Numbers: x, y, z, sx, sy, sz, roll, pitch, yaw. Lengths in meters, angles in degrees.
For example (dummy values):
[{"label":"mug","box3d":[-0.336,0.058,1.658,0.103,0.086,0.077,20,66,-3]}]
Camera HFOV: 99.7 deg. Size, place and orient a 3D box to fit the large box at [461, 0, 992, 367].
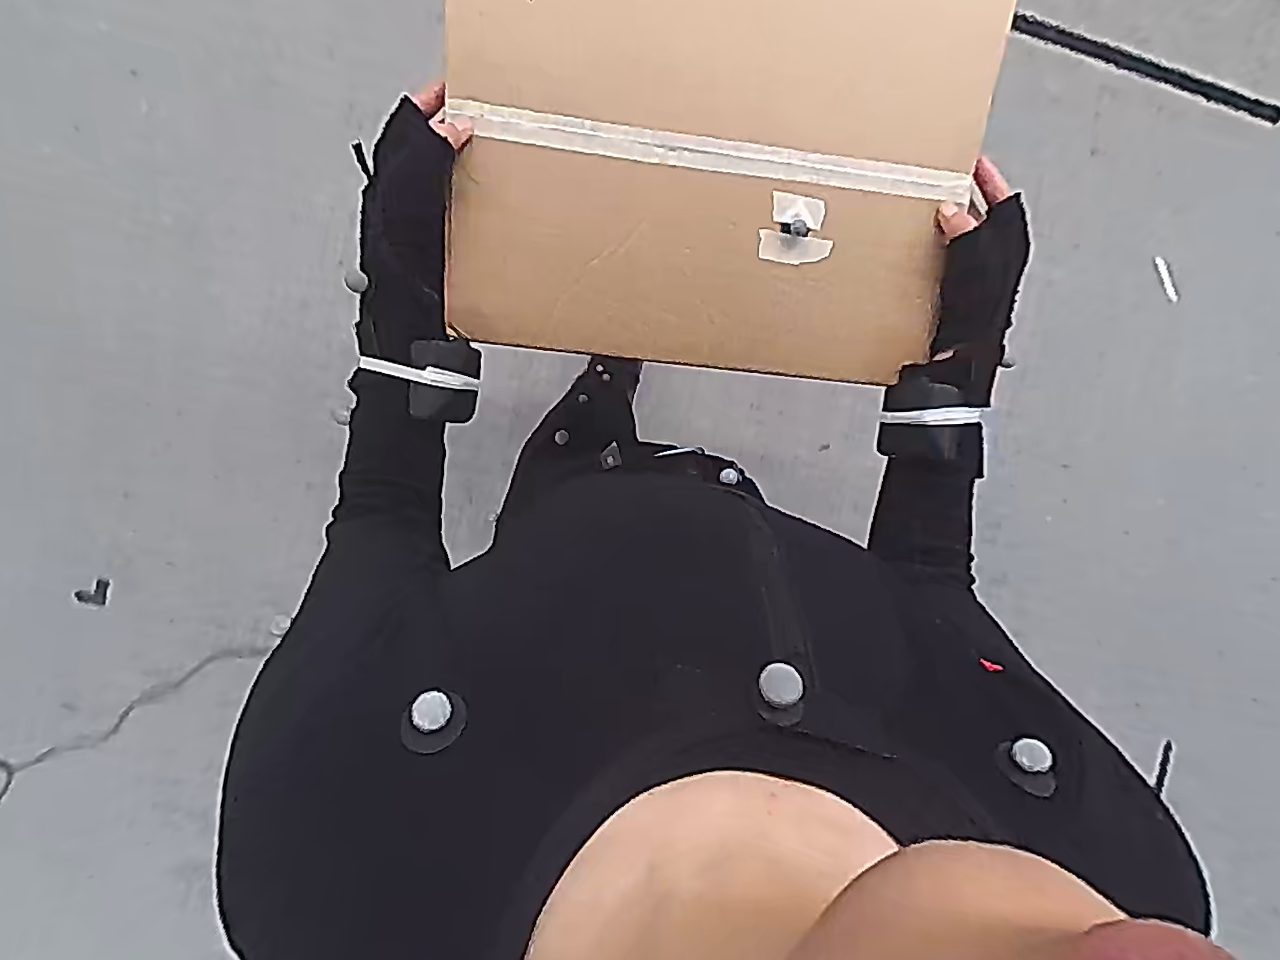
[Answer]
[{"label":"large box","box3d":[0.047,-0.303,0.569,0.408,0.320,0.320,5,107,-7]}]
